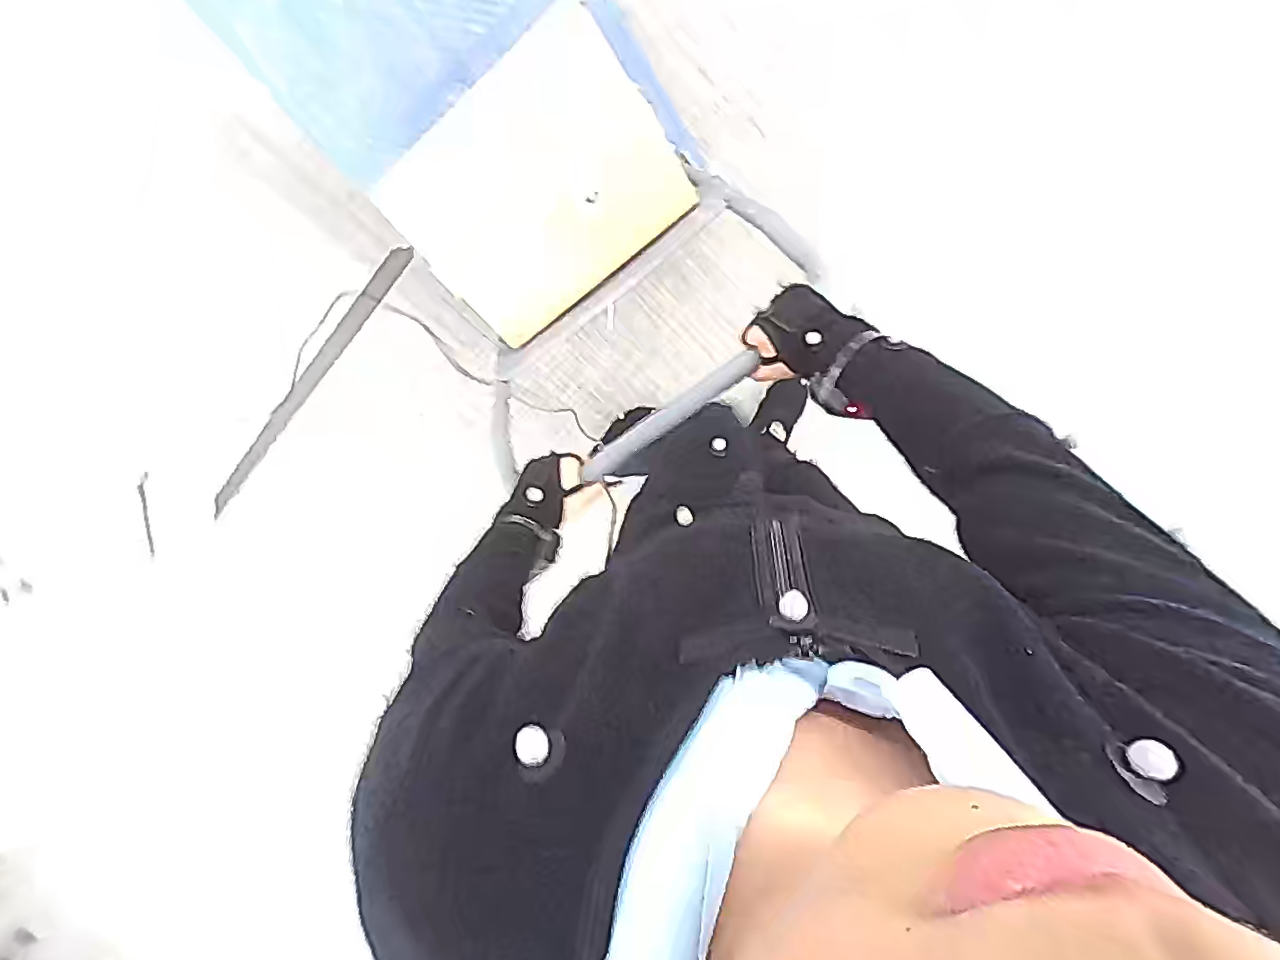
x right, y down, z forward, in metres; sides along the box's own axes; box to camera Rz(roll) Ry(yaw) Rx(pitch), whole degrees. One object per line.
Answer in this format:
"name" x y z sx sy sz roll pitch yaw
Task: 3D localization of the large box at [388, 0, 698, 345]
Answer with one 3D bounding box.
"large box" -0.168 -0.527 0.978 0.408 0.320 0.320 -36 123 14
